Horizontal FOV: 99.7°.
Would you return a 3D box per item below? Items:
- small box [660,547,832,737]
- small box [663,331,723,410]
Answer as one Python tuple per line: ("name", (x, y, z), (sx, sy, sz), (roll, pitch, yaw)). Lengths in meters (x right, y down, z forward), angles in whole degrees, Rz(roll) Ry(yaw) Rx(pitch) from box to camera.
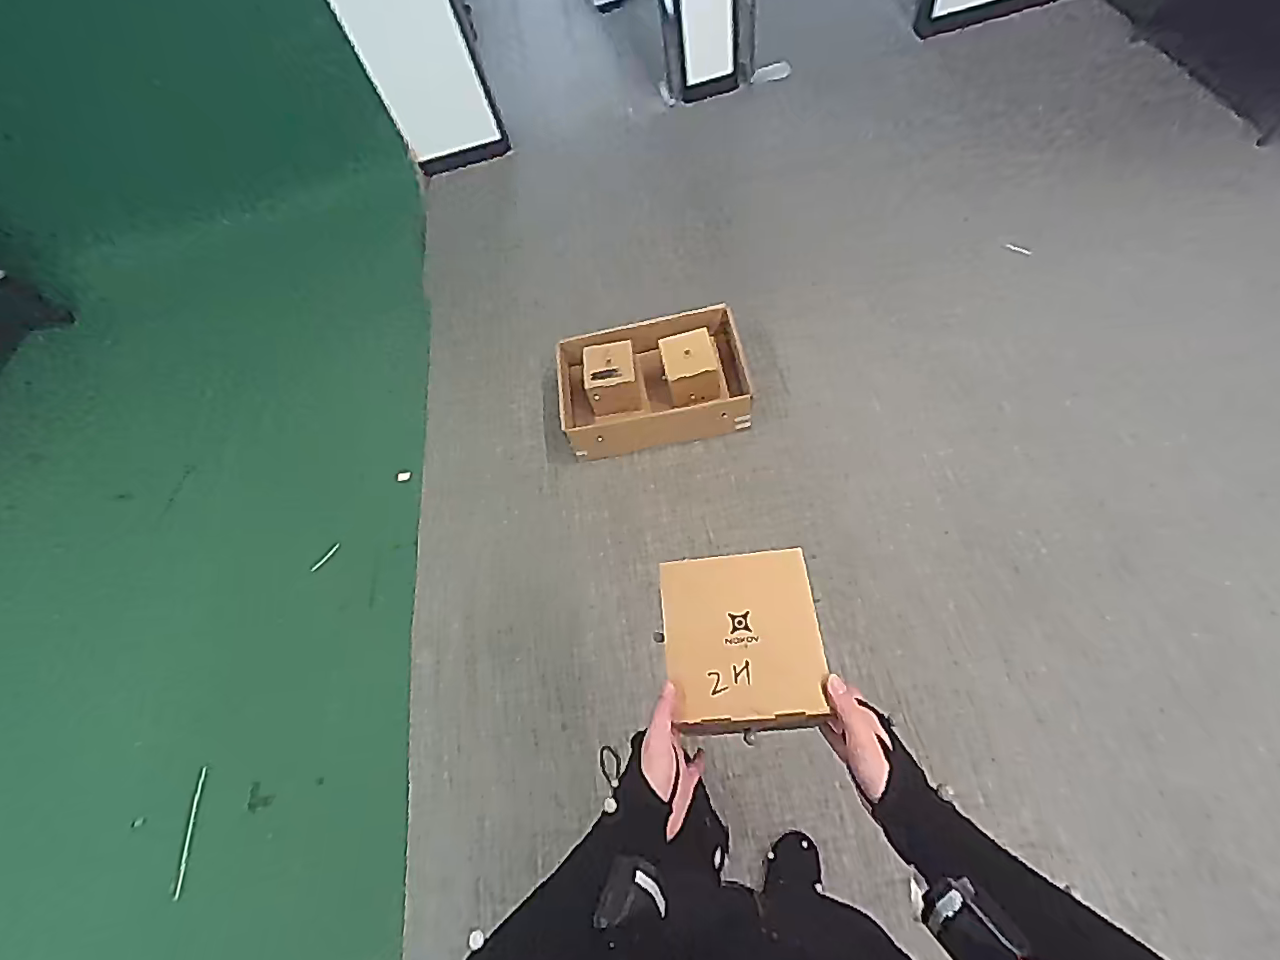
("small box", (0.117, 0.199, 0.646), (0.168, 0.176, 0.179), (-7, 59, 7))
("small box", (0.181, -0.364, 1.818), (0.168, 0.176, 0.179), (-14, 62, 4))
